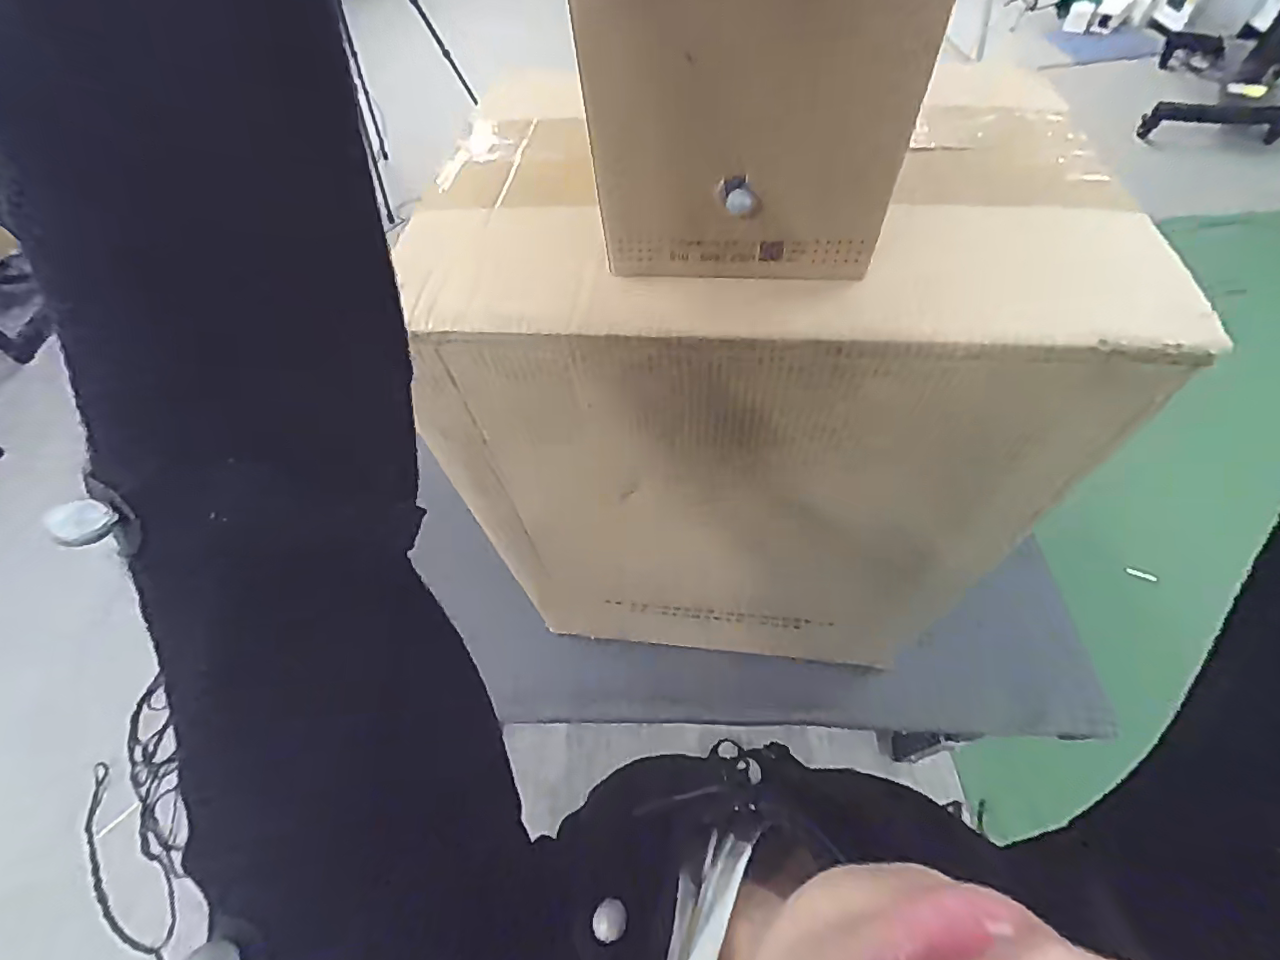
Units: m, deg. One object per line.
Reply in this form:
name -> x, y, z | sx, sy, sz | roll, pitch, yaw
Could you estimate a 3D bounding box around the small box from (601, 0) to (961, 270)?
small box -> 0.073, -0.257, 0.332 | 0.168, 0.176, 0.179 | 4, 59, 8
